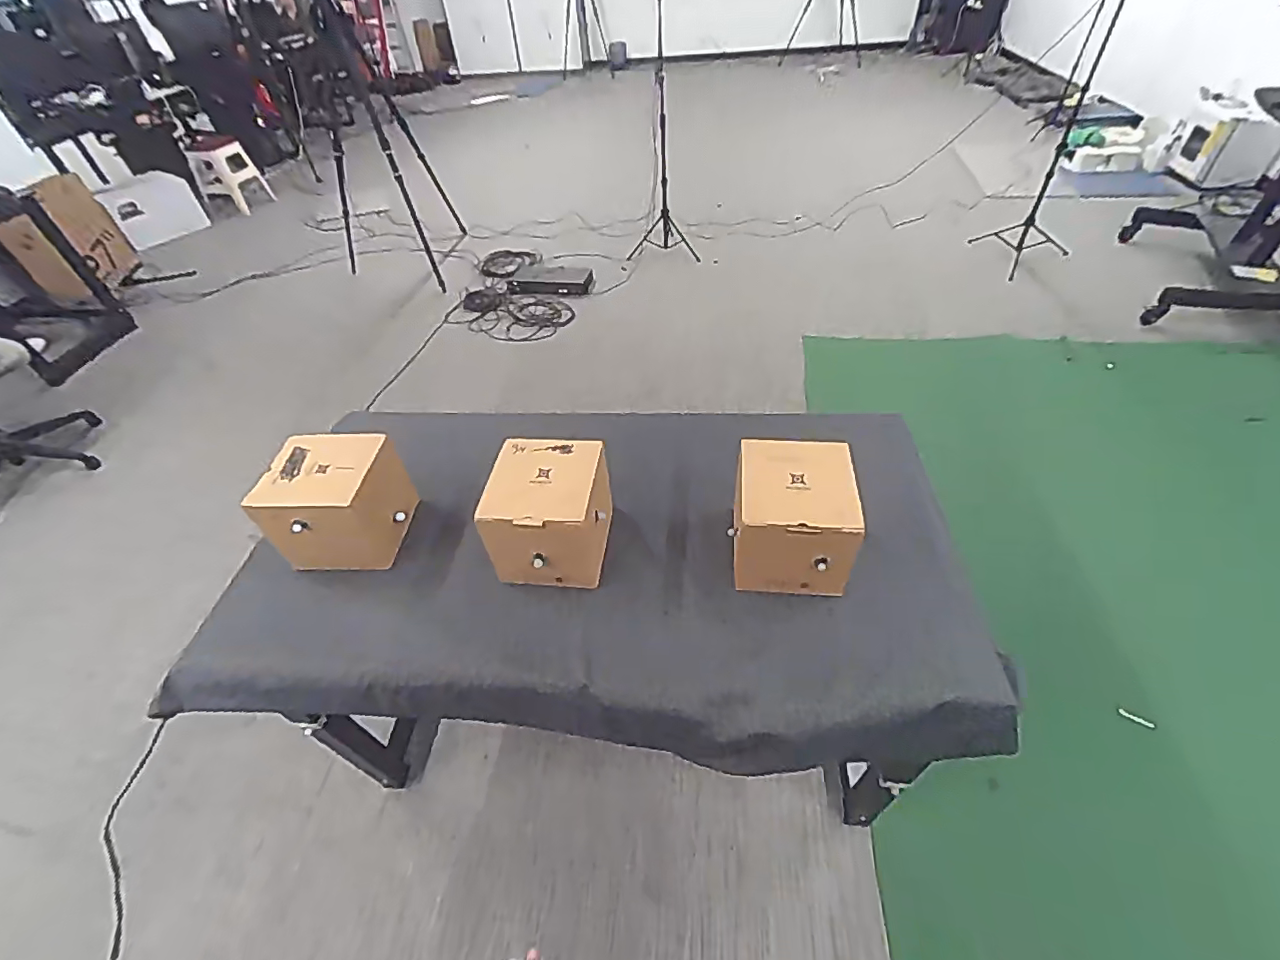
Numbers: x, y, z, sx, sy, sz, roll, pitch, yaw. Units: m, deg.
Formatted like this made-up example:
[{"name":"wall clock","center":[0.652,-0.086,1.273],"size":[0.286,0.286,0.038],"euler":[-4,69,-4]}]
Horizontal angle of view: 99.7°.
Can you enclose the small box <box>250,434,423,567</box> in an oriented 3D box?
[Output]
[{"name":"small box","center":[-0.507,0.037,0.935],"size":[0.179,0.176,0.168],"euler":[0,46,3]}]

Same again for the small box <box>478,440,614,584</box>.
[{"name":"small box","center":[-0.140,0.054,0.890],"size":[0.168,0.176,0.179],"euler":[2,47,7]}]

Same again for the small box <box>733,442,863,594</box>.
[{"name":"small box","center":[0.237,0.061,0.852],"size":[0.168,0.176,0.179],"euler":[3,45,6]}]
